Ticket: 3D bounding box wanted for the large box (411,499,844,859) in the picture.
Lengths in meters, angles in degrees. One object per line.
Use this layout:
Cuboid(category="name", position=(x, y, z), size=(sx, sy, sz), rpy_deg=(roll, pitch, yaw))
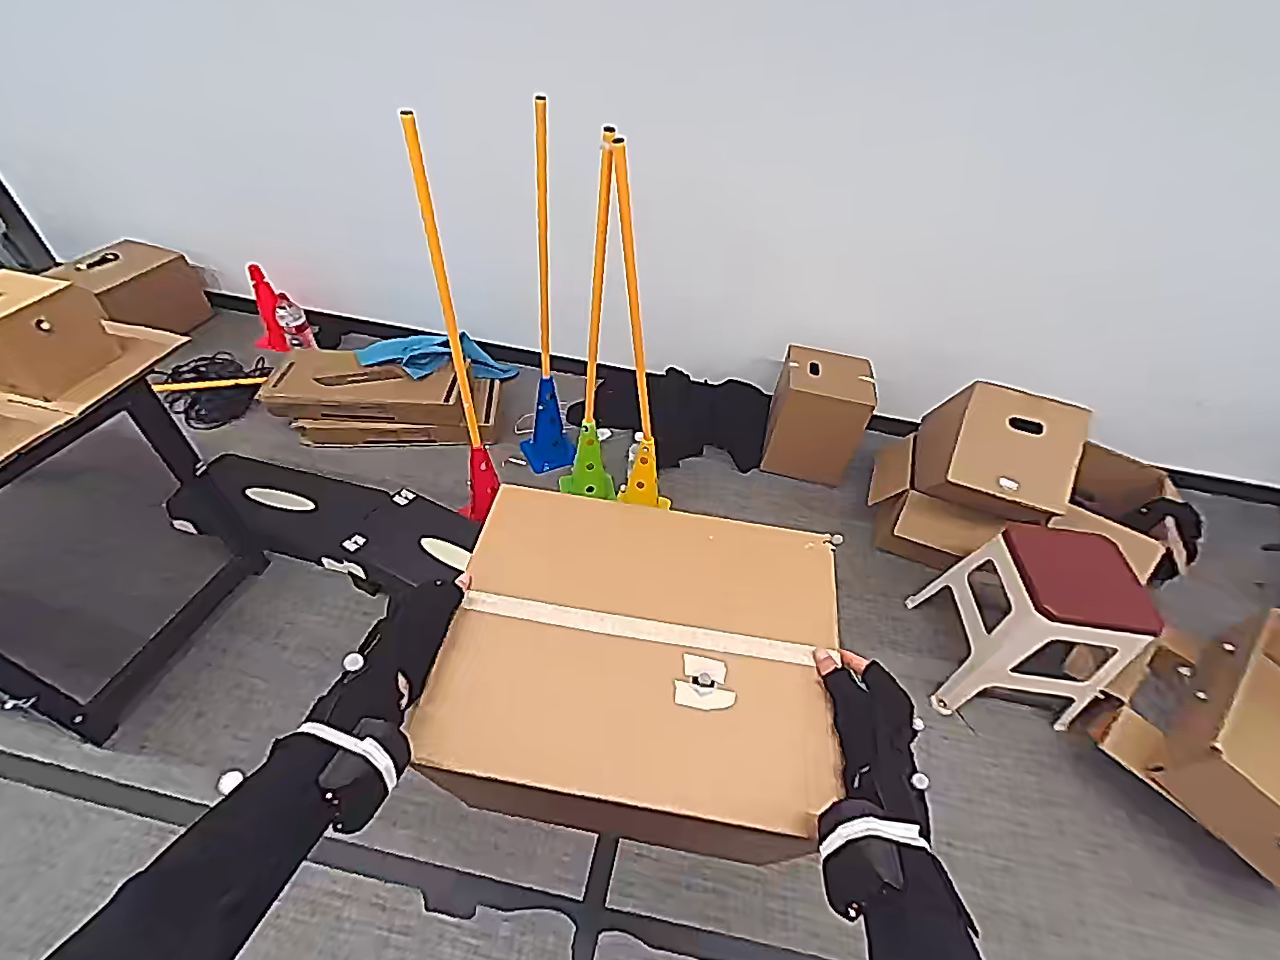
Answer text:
Cuboid(category="large box", position=(-0.005, 0.258, 0.692), size=(0.408, 0.320, 0.320), rpy_deg=(9, 52, 3))
